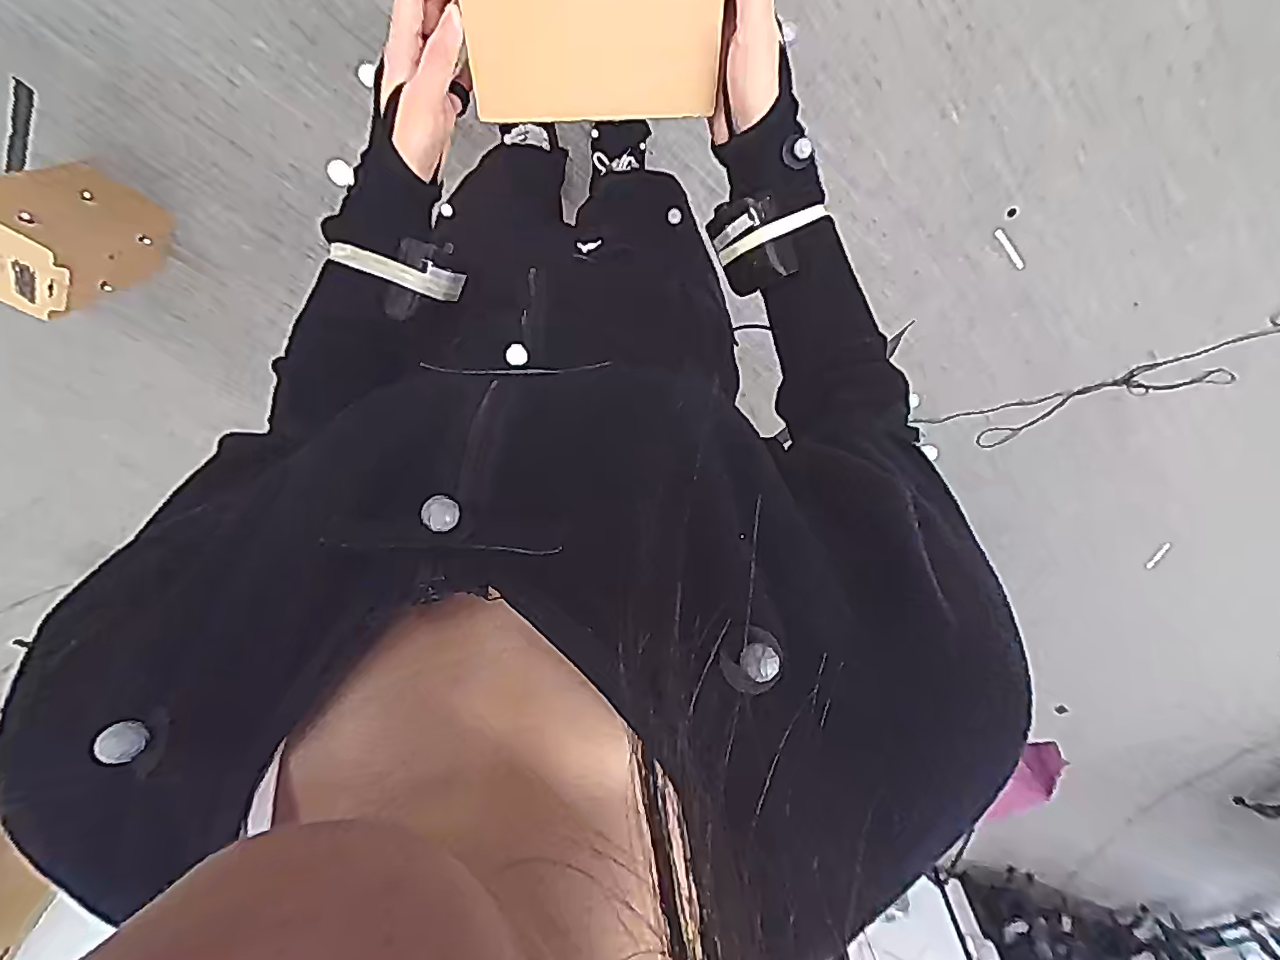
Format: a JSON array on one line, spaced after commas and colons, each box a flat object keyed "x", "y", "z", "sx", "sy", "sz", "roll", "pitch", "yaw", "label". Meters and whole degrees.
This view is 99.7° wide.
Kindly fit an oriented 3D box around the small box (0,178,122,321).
[{"x": -1.161, "y": -0.448, "z": 1.041, "sx": 0.179, "sy": 0.176, "sz": 0.168, "roll": 30, "pitch": 121, "yaw": -23, "label": "small box"}]

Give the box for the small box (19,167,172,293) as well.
[{"x": -1.172, "y": -0.547, "z": 1.172, "sx": 0.179, "sy": 0.176, "sz": 0.168, "roll": 29, "pitch": 121, "yaw": -22, "label": "small box"}]

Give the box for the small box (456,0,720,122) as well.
[{"x": -0.038, "y": -0.368, "z": 0.372, "sx": 0.168, "sy": 0.176, "sz": 0.179, "roll": -4, "pitch": 134, "yaw": -5, "label": "small box"}]
